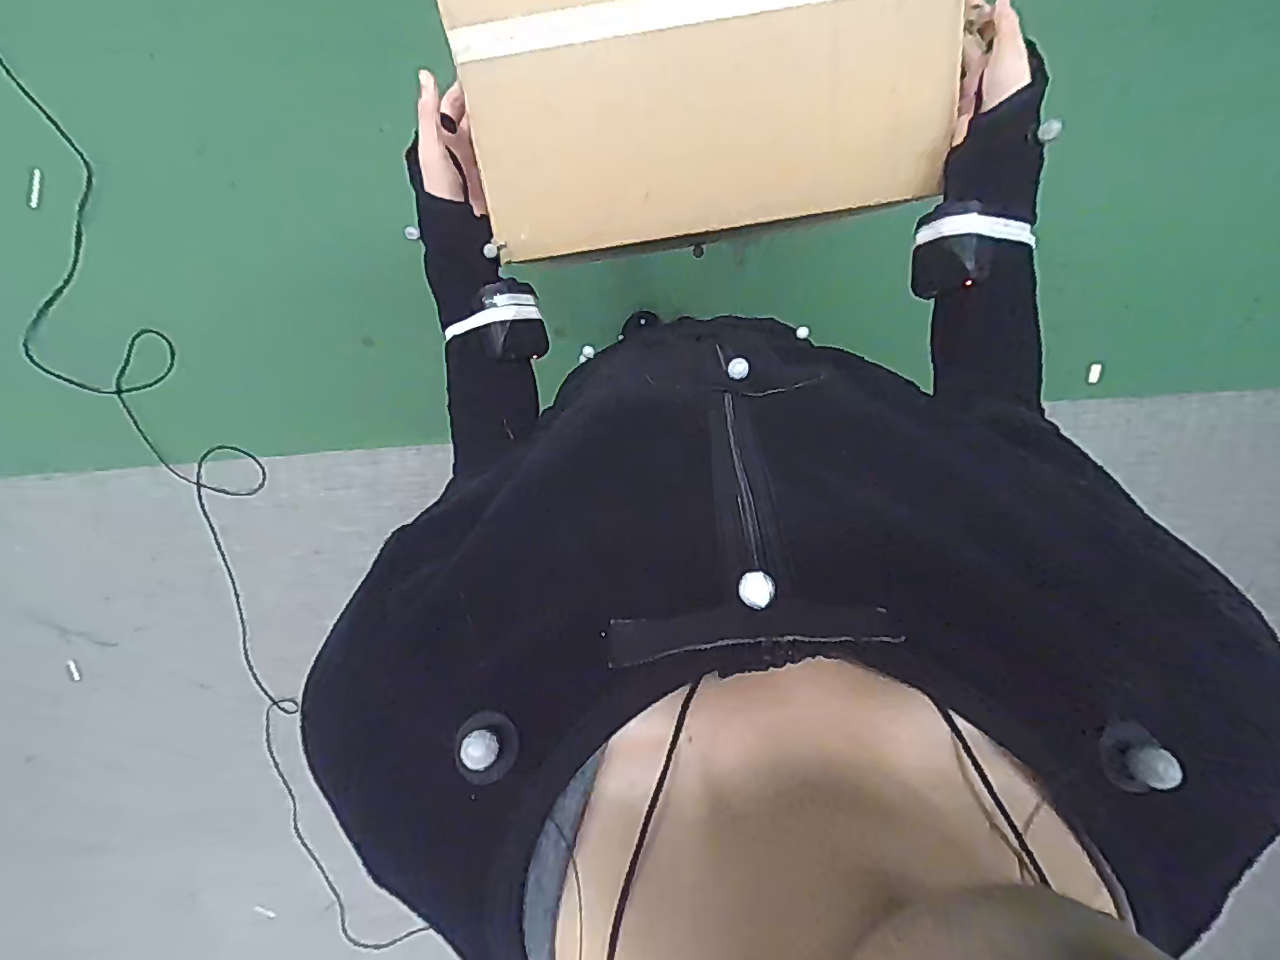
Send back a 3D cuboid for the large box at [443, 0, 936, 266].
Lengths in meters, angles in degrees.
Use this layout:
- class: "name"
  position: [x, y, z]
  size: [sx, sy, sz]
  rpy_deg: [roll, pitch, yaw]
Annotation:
- class: "large box"
  position: [0.040, -0.423, 0.577]
  size: [0.408, 0.320, 0.320]
  rpy_deg: [-8, 111, 0]
